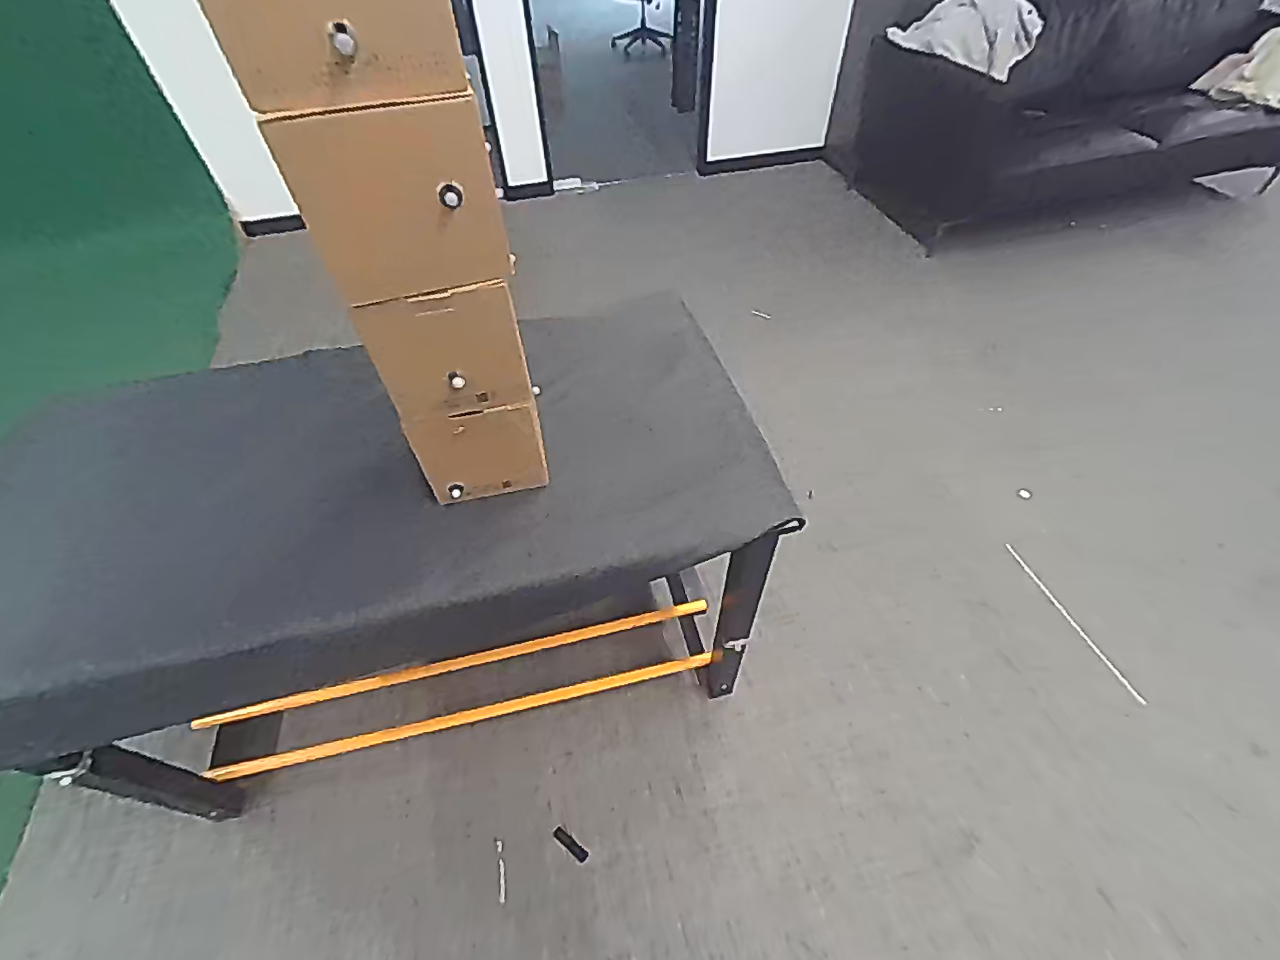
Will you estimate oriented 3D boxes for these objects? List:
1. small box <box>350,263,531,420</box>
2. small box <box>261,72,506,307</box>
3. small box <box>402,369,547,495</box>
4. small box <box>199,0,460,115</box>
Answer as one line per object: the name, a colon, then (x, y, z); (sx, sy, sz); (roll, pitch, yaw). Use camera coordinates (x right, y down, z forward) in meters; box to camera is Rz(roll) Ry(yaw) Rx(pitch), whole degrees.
small box: (-0.241, -0.203, 0.682); (0.168, 0.176, 0.179); (-13, 51, -9)
small box: (-0.246, -0.304, 0.556); (0.179, 0.176, 0.168); (-18, 50, -12)
small box: (-0.238, -0.093, 0.806); (0.168, 0.176, 0.179); (-11, 49, -8)
small box: (-0.255, -0.423, 0.442); (0.179, 0.176, 0.168); (-14, 49, -10)
